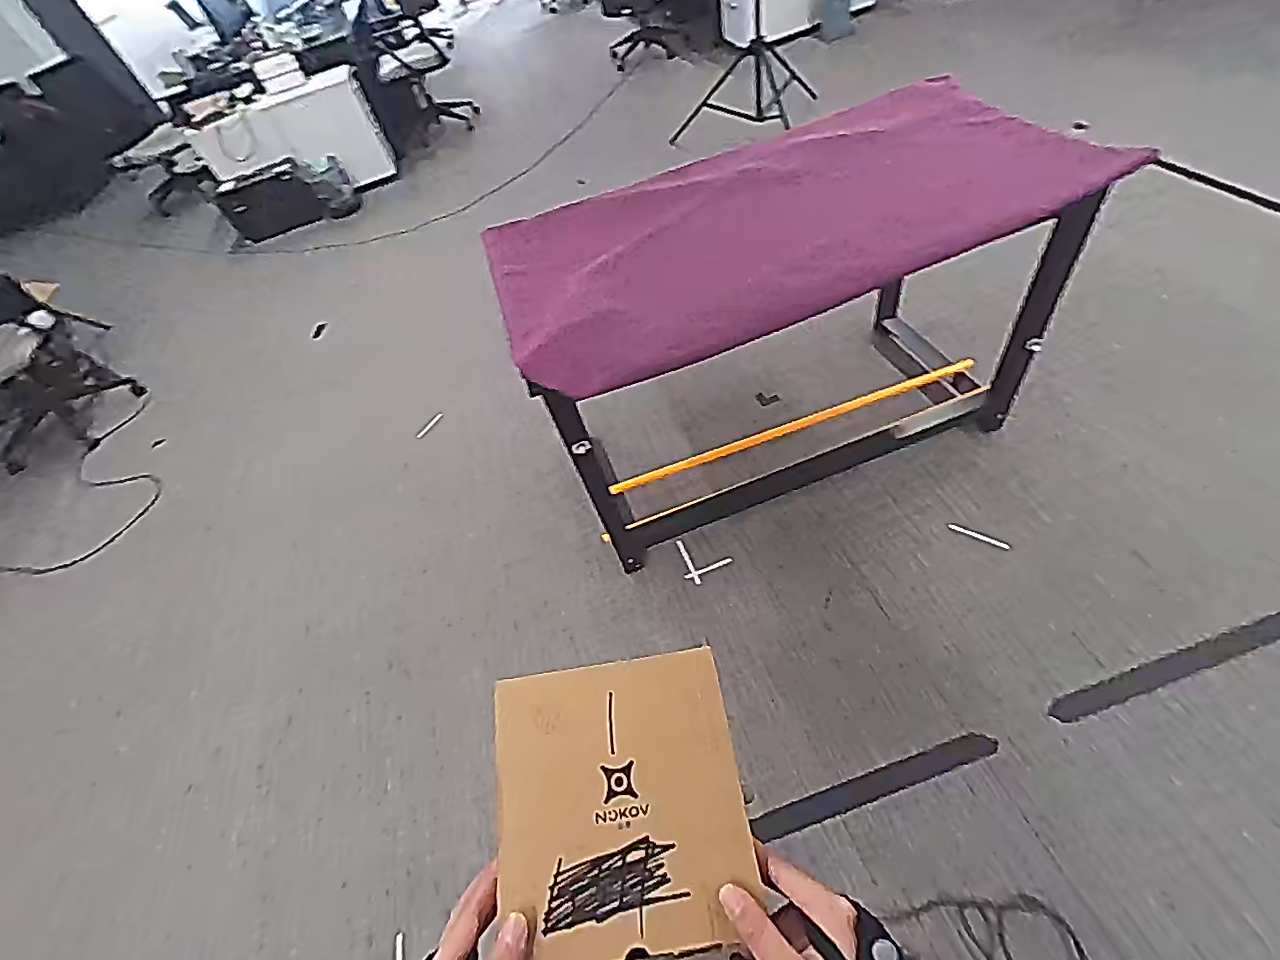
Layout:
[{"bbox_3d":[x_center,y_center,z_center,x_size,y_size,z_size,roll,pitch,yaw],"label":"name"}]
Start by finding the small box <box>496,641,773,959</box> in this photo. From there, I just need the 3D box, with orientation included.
[{"bbox_3d":[-0.009,0.242,0.422,0.168,0.176,0.179,-8,59,-3],"label":"small box"}]
